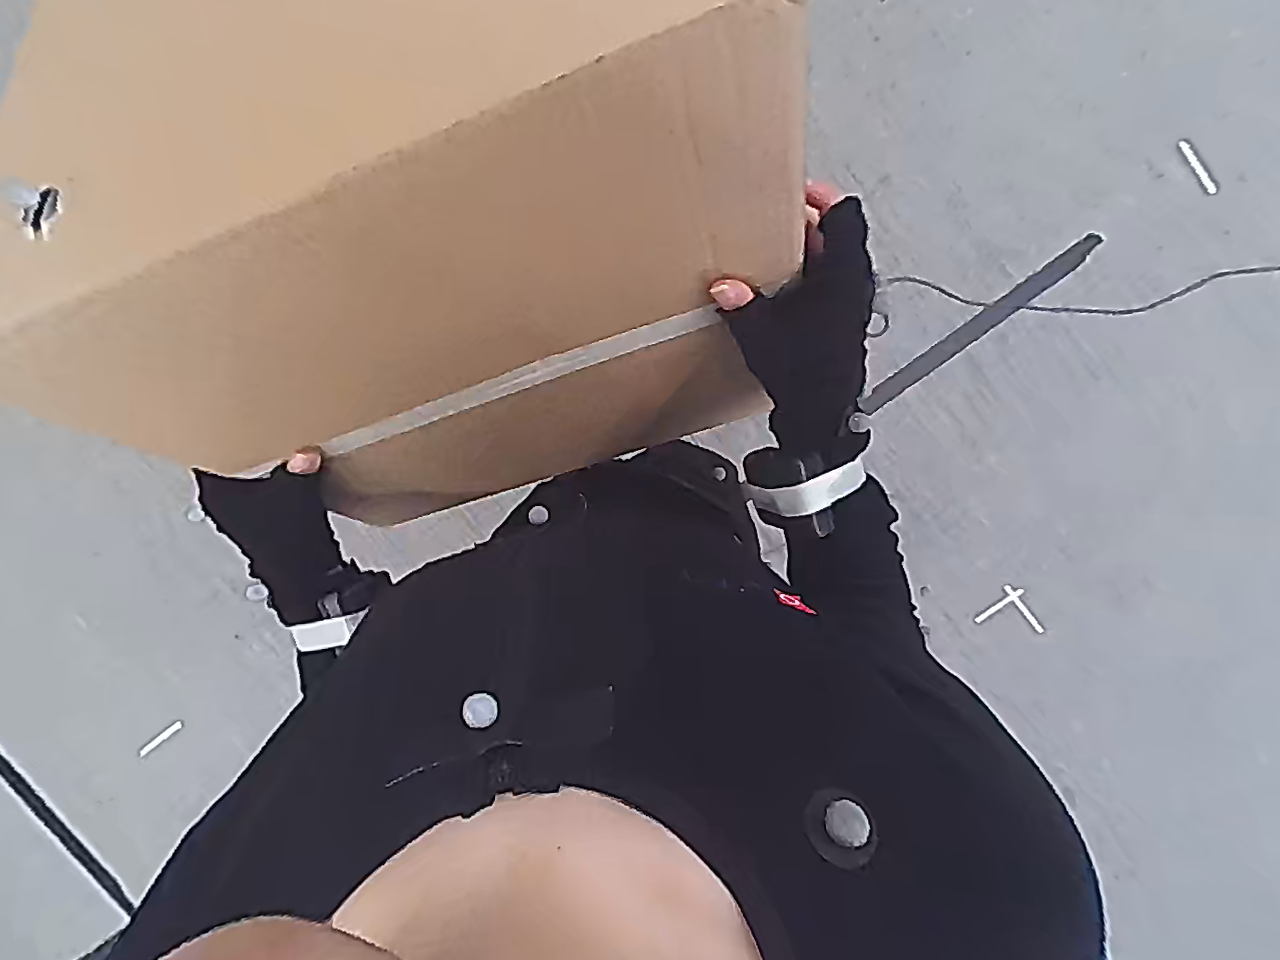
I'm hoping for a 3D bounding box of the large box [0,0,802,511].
[{"bbox_3d":[-0.125,-0.209,0.410,0.408,0.320,0.320,-16,69,9],"label":"large box"}]
